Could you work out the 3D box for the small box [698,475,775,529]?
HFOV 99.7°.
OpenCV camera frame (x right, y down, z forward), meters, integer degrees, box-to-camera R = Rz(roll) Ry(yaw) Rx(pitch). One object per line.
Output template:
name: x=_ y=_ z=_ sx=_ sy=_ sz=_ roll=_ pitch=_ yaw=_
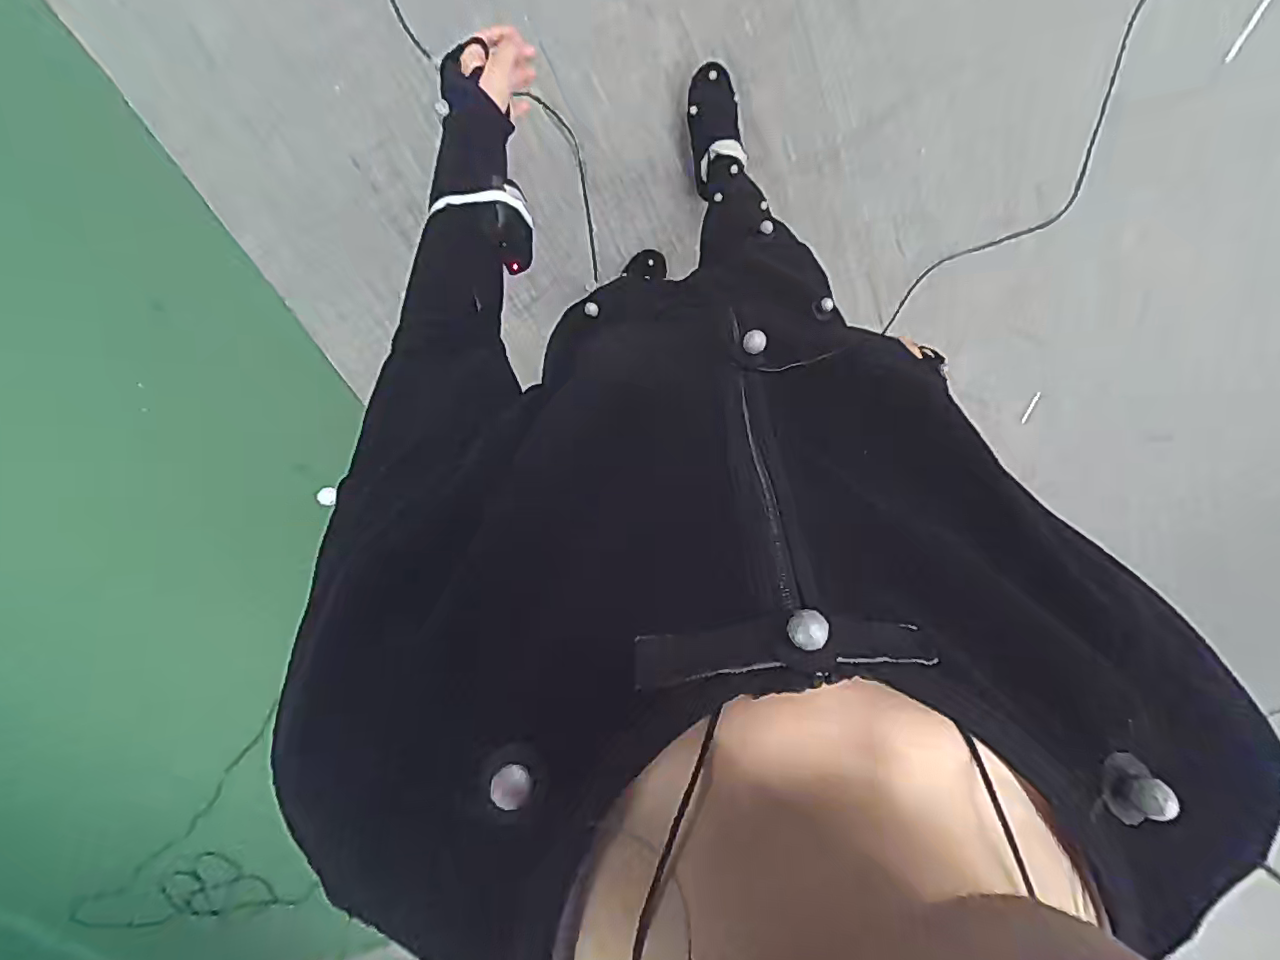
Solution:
small box: x=0.282 y=0.113 z=1.541 sx=0.179 sy=0.176 sz=0.168 roll=-28 pitch=115 yaw=14
